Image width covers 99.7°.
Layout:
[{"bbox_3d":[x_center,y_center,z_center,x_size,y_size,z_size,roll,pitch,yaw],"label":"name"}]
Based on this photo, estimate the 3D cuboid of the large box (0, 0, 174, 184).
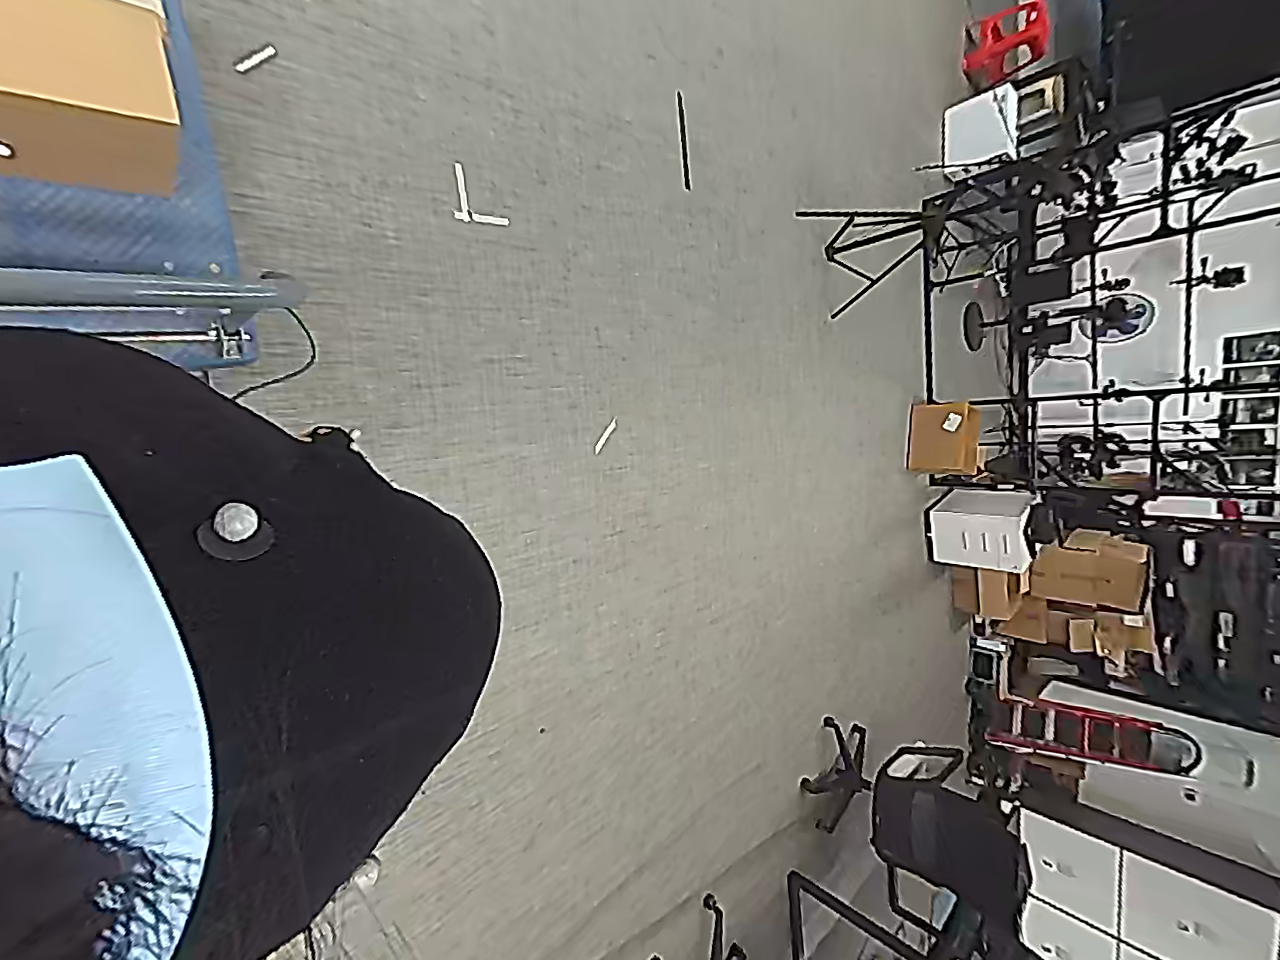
[{"bbox_3d":[-0.954,-0.656,0.761,0.408,0.320,0.320,-14,101,-40],"label":"large box"}]
